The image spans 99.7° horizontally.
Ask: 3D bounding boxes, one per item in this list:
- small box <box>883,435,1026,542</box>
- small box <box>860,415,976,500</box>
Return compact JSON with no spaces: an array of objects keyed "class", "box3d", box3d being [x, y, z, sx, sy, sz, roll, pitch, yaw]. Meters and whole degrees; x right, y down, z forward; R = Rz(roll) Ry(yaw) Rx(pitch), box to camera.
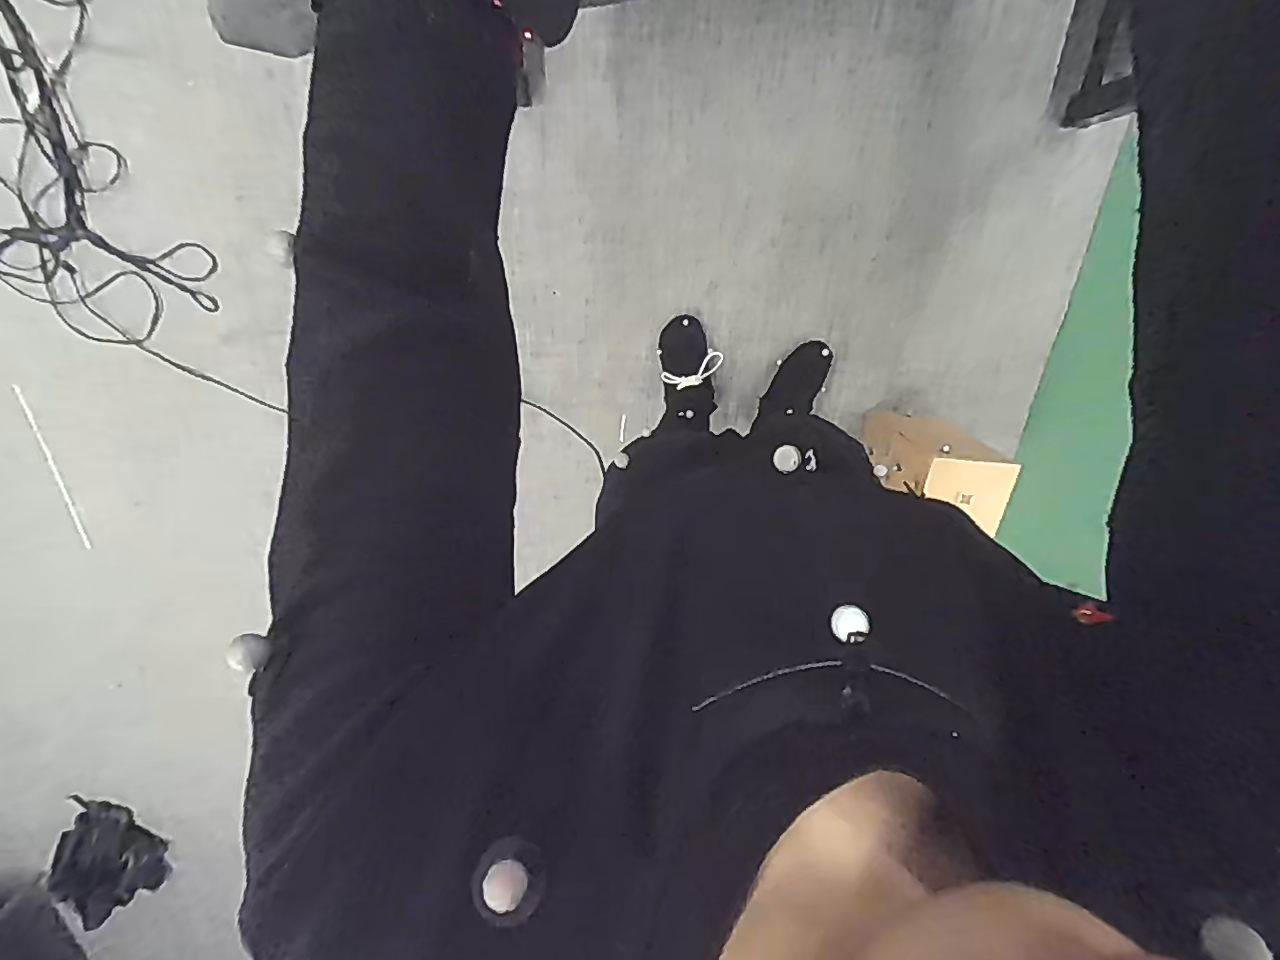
[{"class":"small box","box3d":[0.639,0.013,1.122,0.179,0.176,0.168,4,113,0]},{"class":"small box","box3d":[0.641,-0.052,1.273,0.179,0.176,0.168,3,113,1]}]
